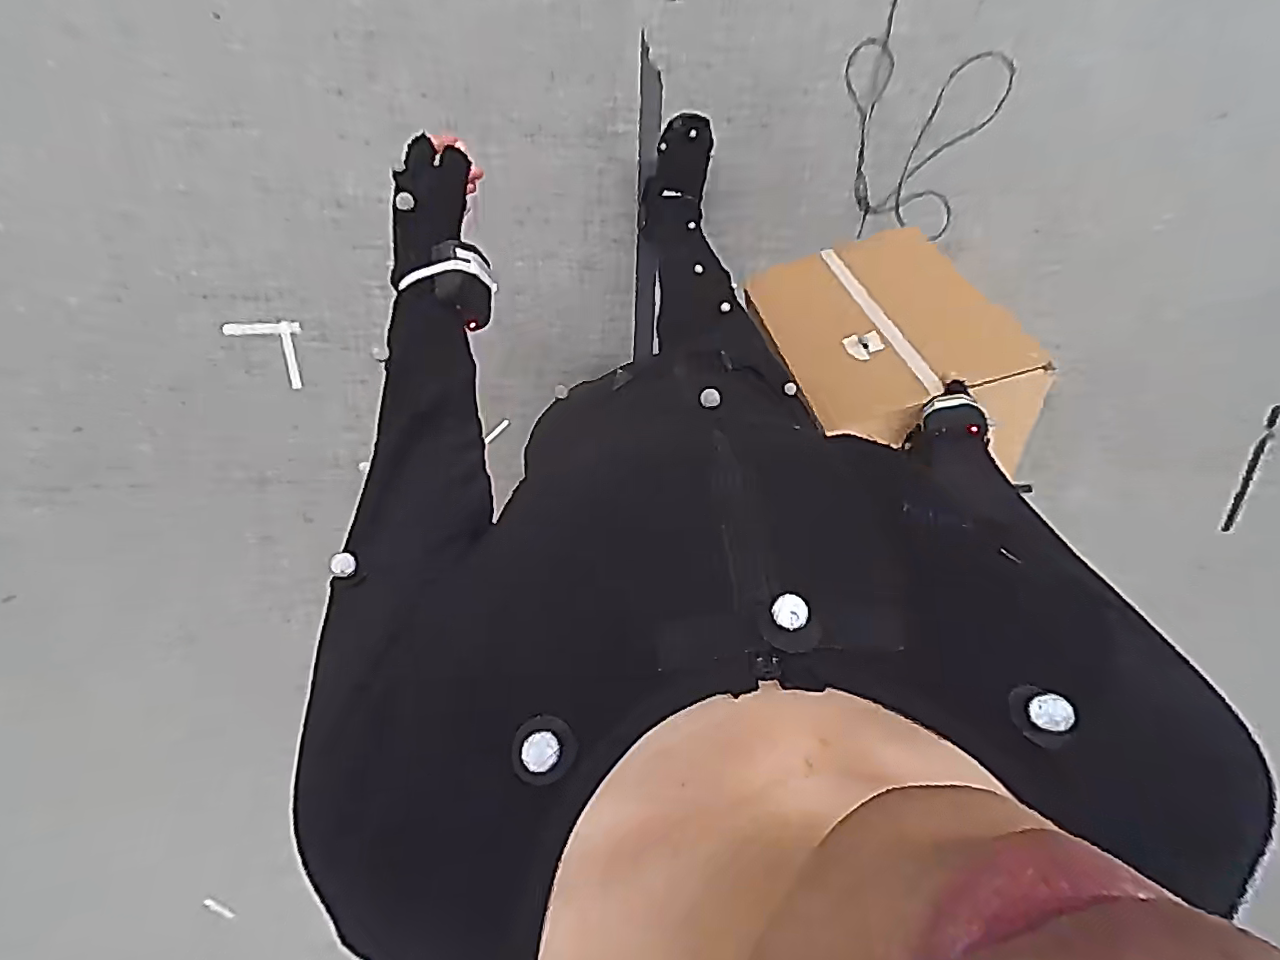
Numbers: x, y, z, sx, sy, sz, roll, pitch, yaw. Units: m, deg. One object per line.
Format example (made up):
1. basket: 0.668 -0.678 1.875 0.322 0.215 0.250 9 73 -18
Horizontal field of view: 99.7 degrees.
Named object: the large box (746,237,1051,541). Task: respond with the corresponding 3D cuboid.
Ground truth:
1. large box: 0.409 -0.164 0.978 0.320 0.408 0.320 -17 140 5
